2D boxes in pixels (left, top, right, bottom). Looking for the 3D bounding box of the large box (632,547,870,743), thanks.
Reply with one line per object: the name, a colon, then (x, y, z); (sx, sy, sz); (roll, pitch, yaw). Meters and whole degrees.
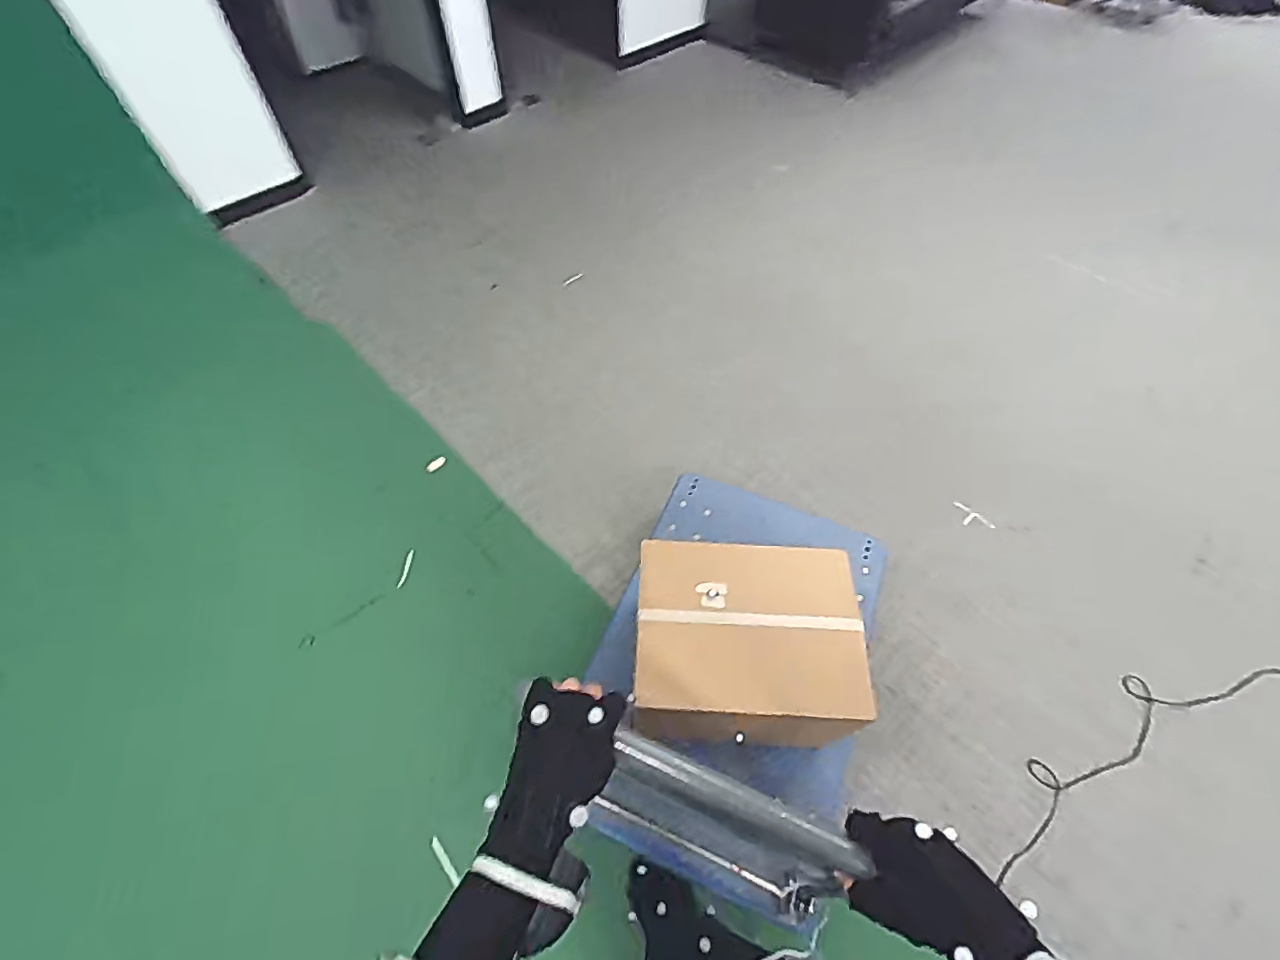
large box: (0.194, 0.347, 1.107); (0.408, 0.320, 0.320); (2, 55, 2)
